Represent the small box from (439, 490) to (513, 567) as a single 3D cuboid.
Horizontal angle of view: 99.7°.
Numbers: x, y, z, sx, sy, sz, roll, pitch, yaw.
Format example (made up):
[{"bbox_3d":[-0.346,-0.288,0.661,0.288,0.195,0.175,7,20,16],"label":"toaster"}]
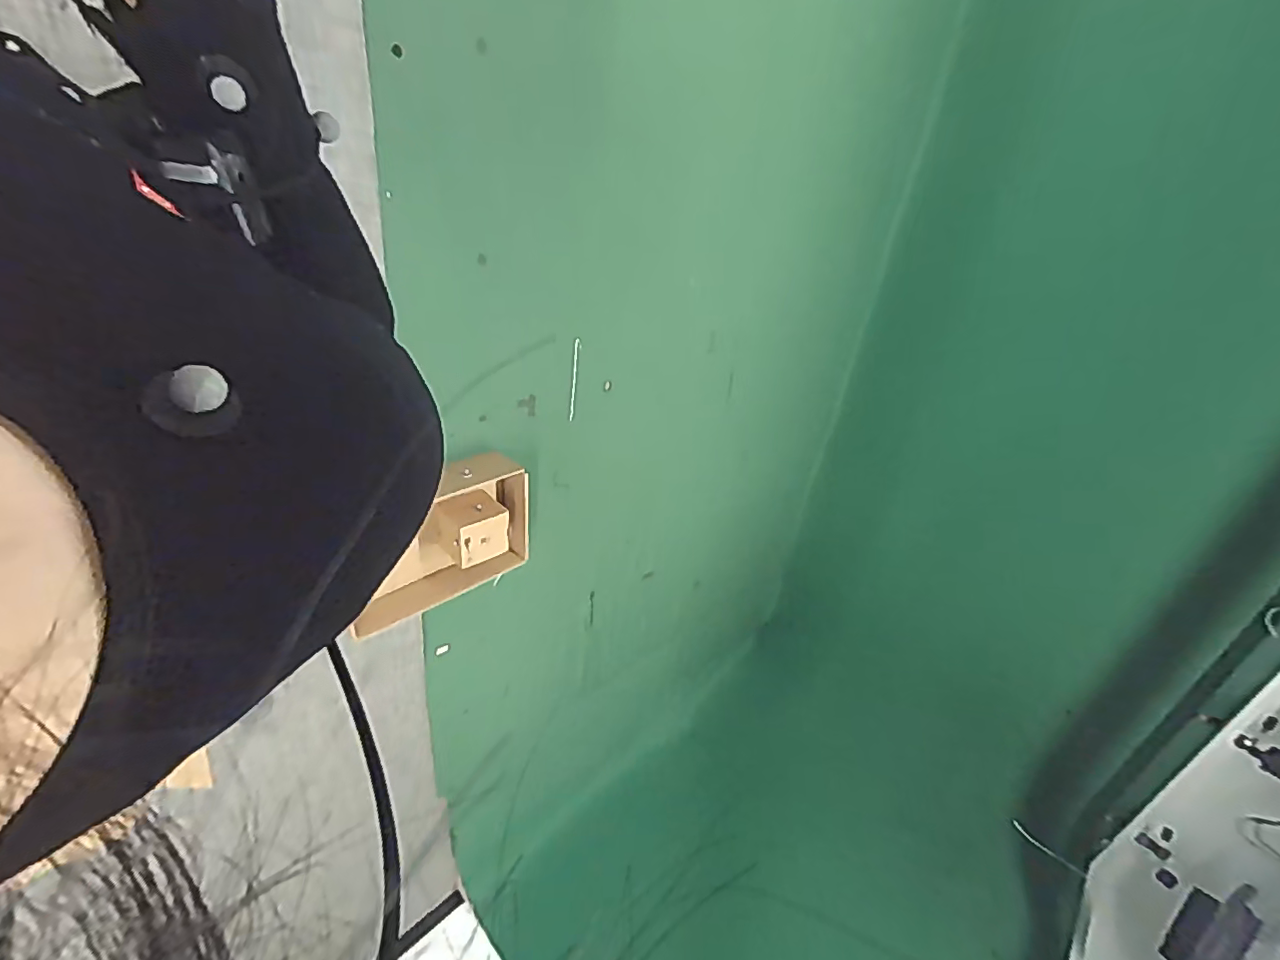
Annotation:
[{"bbox_3d":[-0.545,0.153,1.797,0.179,0.176,0.168,-21,131,-40],"label":"small box"}]
